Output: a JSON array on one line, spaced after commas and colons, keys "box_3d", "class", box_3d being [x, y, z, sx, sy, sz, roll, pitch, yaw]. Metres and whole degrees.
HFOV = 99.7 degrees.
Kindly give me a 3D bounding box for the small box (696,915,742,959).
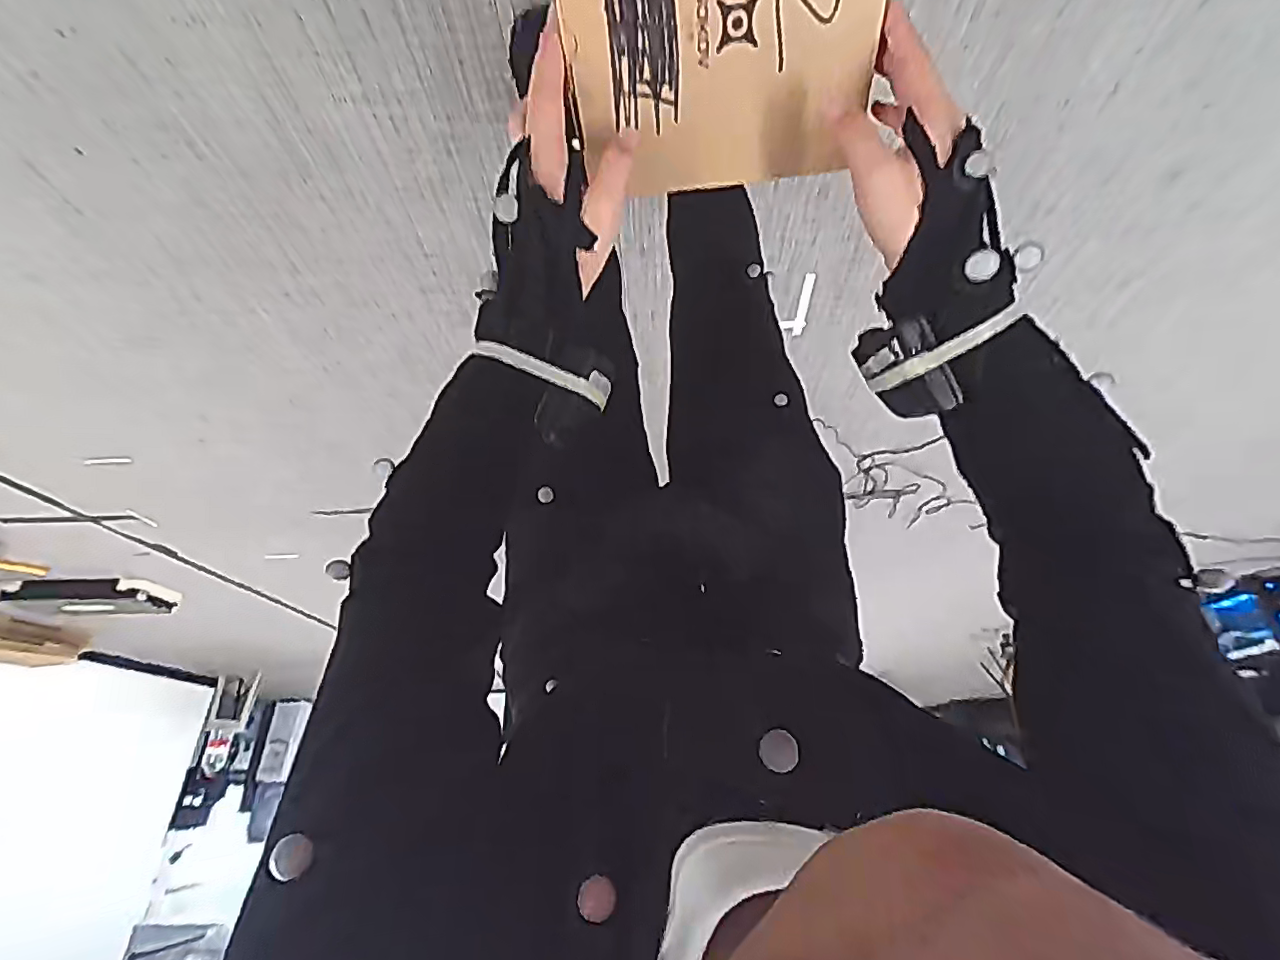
[{"box_3d": [0.304, 1.809, 2.093, 0.168, 0.176, 0.179, -1, 150, 3], "class": "small box"}]
